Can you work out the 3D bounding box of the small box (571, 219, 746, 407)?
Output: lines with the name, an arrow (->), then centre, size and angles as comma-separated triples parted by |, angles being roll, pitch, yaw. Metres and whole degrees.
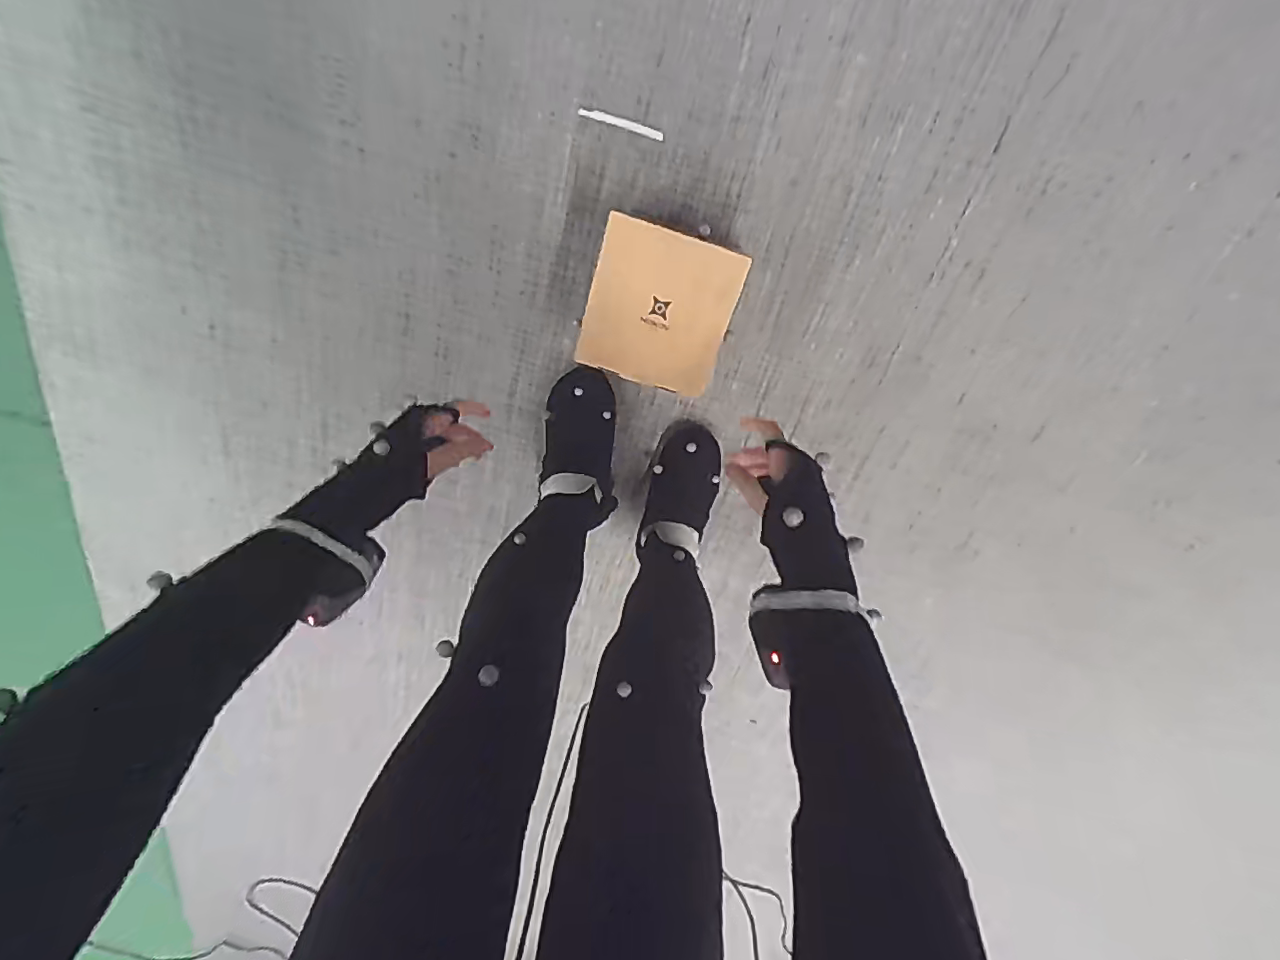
small box -> 0.022, -0.222, 0.696 | 0.168, 0.176, 0.179 | 17, 118, -3
